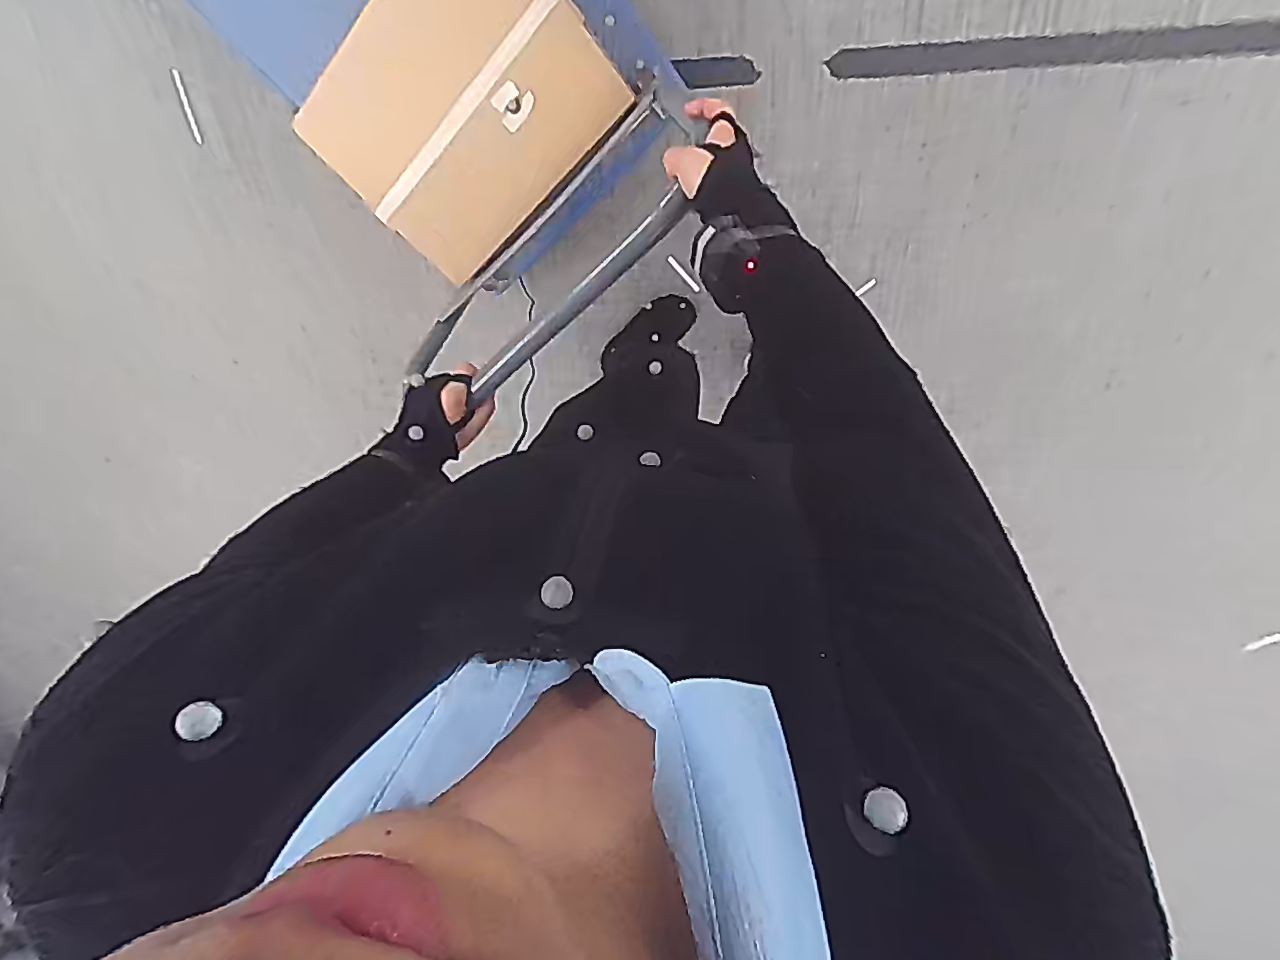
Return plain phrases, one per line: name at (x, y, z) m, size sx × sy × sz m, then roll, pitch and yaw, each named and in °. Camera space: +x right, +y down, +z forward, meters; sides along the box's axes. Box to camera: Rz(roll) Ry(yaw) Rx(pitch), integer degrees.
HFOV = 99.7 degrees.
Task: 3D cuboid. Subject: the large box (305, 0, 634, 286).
large box at (-0.255, -0.615, 0.911) m, size 0.408 × 0.320 × 0.320 m, roll -37°, pitch 118°, yaw 22°
